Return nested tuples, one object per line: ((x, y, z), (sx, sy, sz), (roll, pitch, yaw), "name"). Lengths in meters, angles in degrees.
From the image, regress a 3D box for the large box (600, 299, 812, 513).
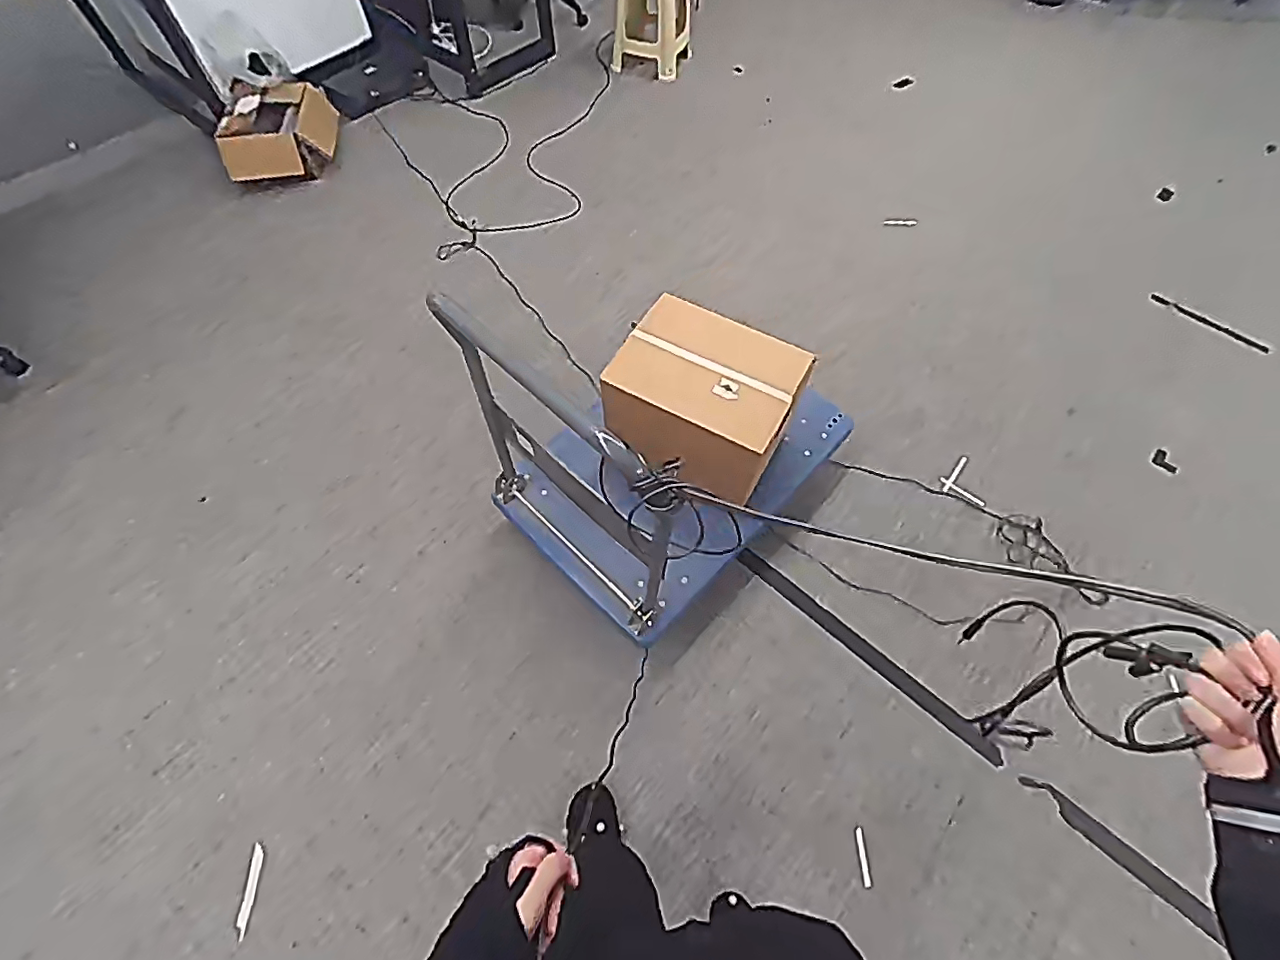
((0.148, -0.179, 1.356), (0.408, 0.320, 0.320), (27, 65, 13), "large box")
